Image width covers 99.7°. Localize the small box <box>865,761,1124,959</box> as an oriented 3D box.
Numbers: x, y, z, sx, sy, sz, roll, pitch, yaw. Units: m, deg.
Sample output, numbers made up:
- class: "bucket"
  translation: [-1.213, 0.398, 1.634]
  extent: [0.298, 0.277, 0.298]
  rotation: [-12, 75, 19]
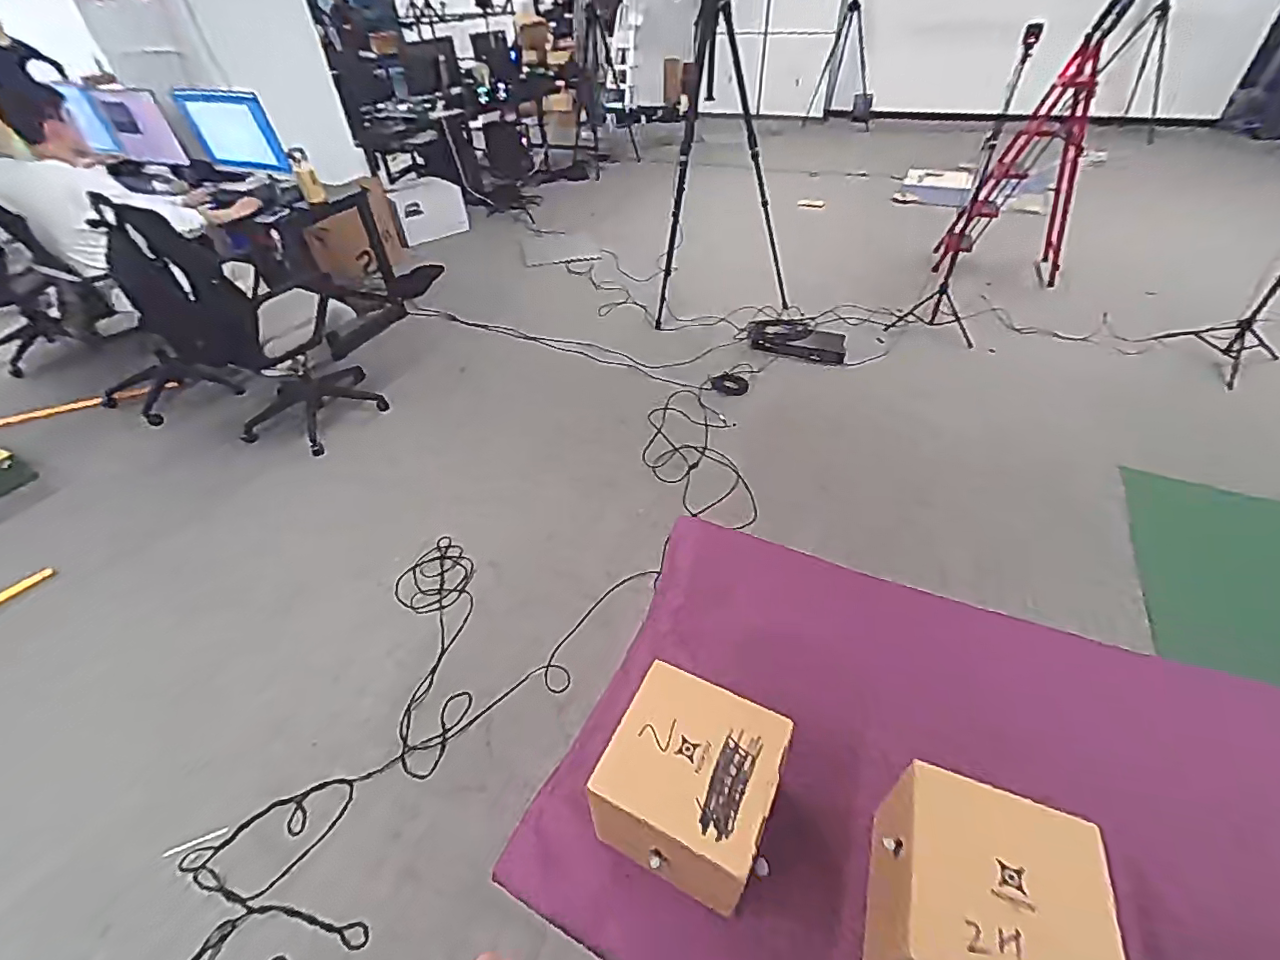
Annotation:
- class: "small box"
  translation: [0.334, 0.426, 0.538]
  extent: [0.168, 0.176, 0.179]
  rotation: [14, 43, 18]
